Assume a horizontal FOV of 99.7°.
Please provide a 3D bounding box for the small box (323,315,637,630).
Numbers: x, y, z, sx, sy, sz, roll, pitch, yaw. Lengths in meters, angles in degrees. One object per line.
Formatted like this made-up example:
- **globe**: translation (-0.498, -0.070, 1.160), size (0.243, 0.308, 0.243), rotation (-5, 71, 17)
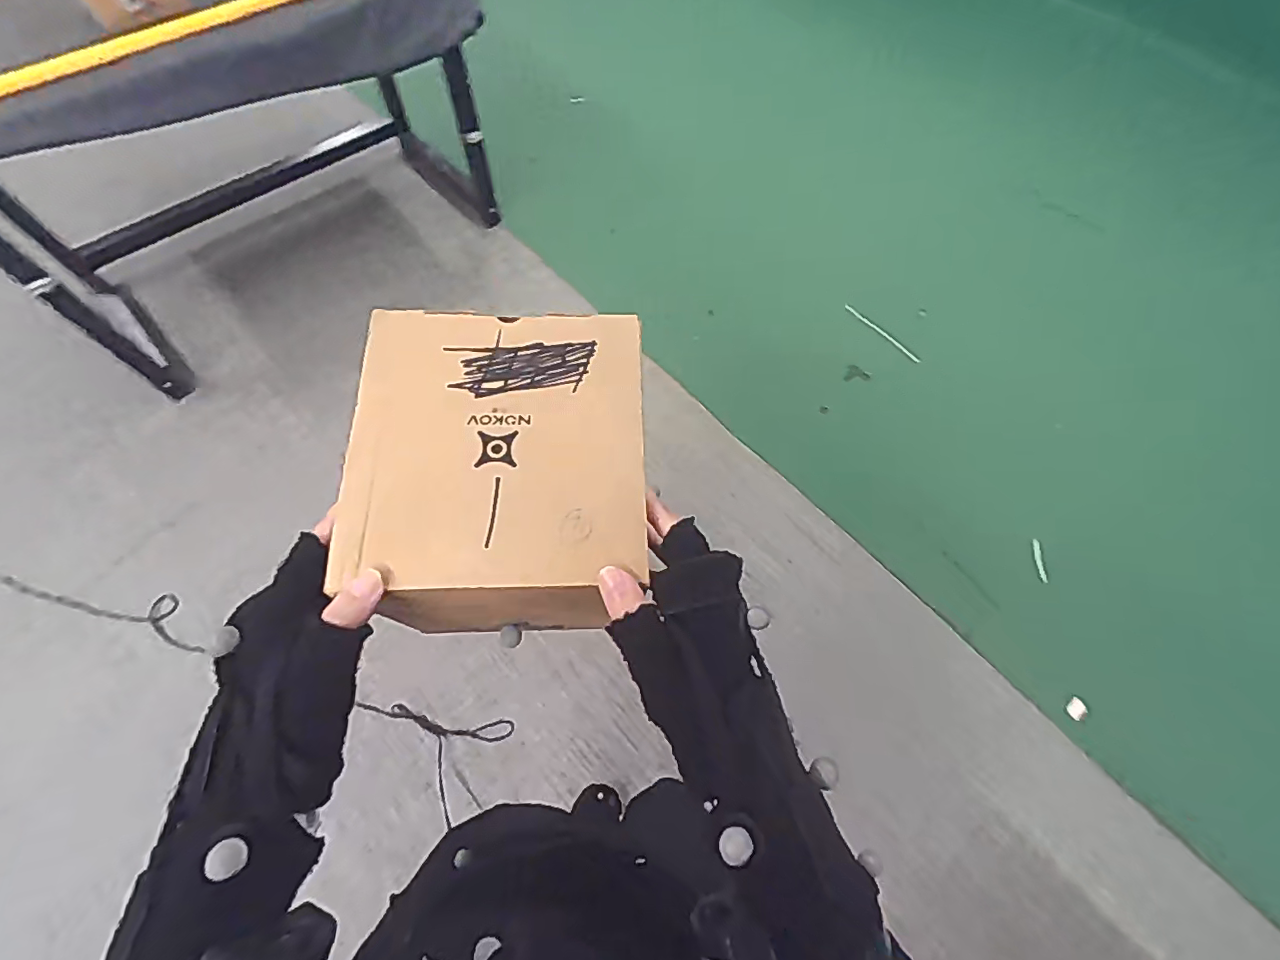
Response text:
- **small box**: translation (-0.091, 0.005, 0.389), size (0.168, 0.176, 0.179), rotation (-1, 67, -4)

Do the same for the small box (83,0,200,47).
- **small box**: translation (-1.072, -1.041, 1.110), size (0.168, 0.176, 0.179), rotation (-42, 73, -18)
